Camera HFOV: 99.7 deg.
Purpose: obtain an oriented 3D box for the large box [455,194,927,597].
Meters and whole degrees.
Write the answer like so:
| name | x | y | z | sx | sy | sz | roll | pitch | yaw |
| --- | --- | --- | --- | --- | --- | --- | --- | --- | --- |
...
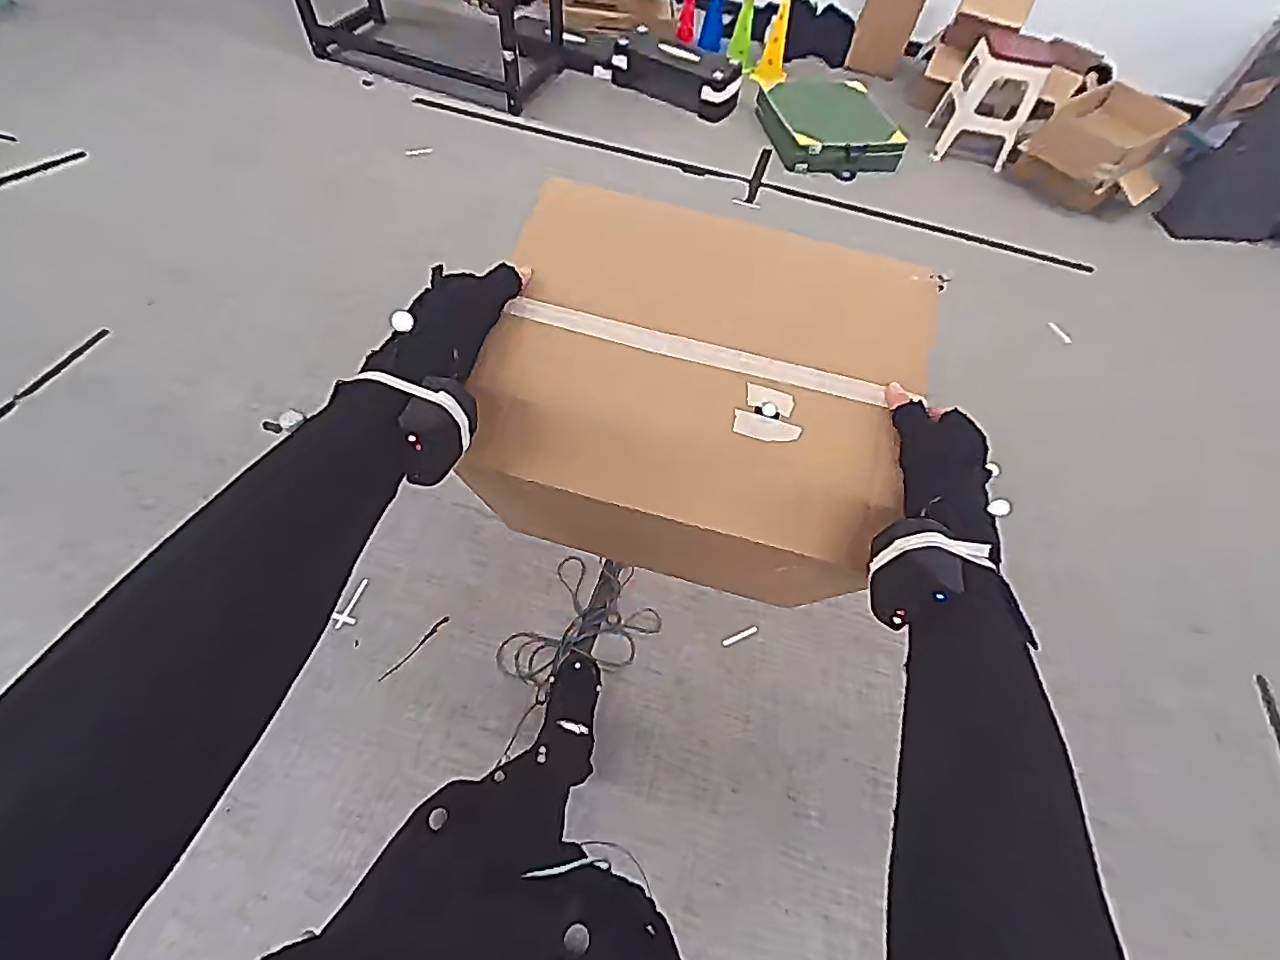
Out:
| name | x | y | z | sx | sy | sz | roll | pitch | yaw |
| --- | --- | --- | --- | --- | --- | --- | --- | --- | --- |
| large box | 0.056 | -0.069 | 0.654 | 0.408 | 0.320 | 0.320 | 15 | 74 | 3 |
